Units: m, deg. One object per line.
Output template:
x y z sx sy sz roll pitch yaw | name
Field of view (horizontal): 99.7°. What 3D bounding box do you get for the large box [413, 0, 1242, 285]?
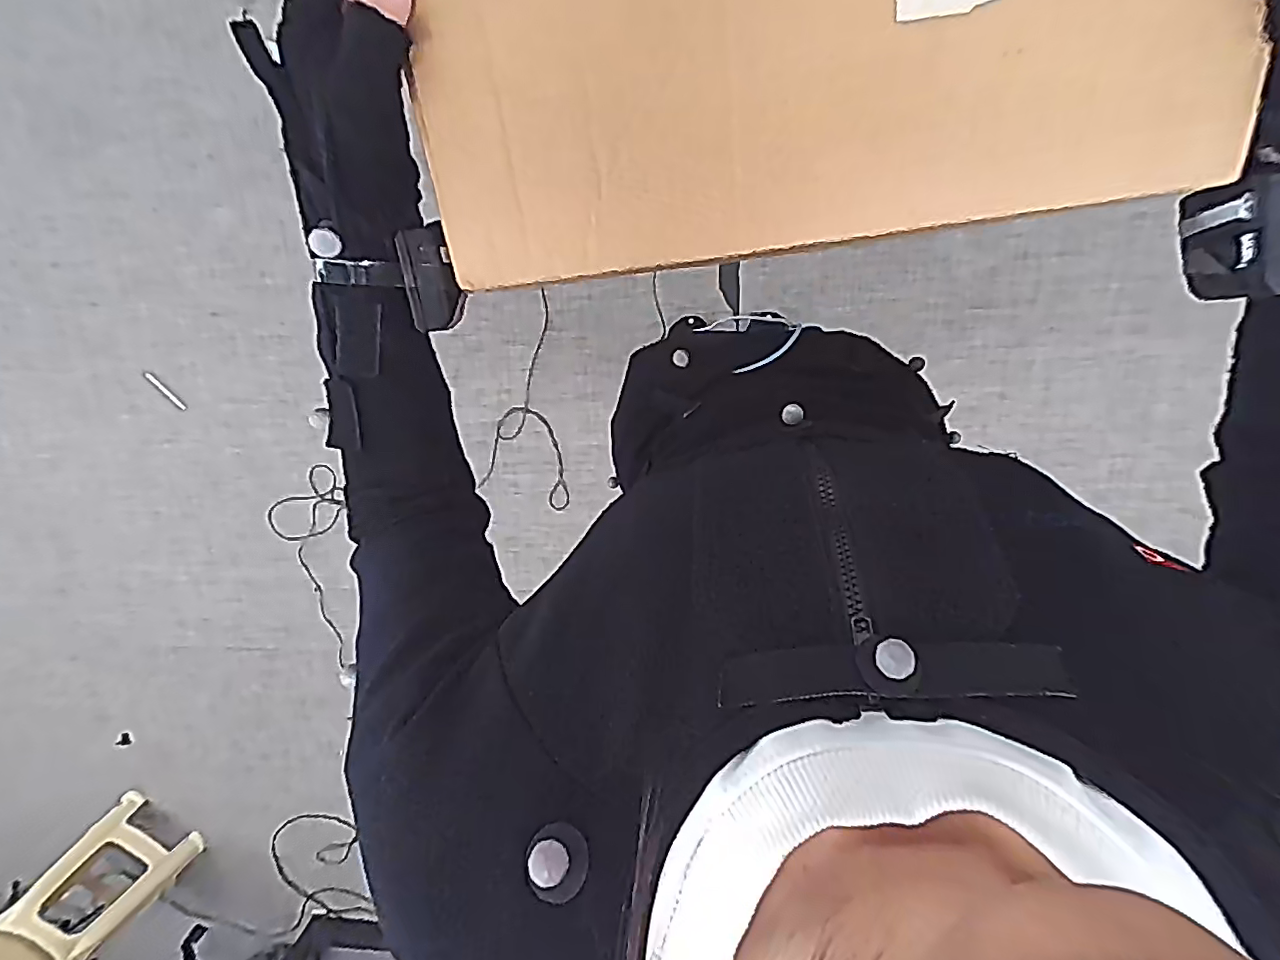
0.086 -0.335 0.390 0.408 0.320 0.320 -6 111 7 | large box
